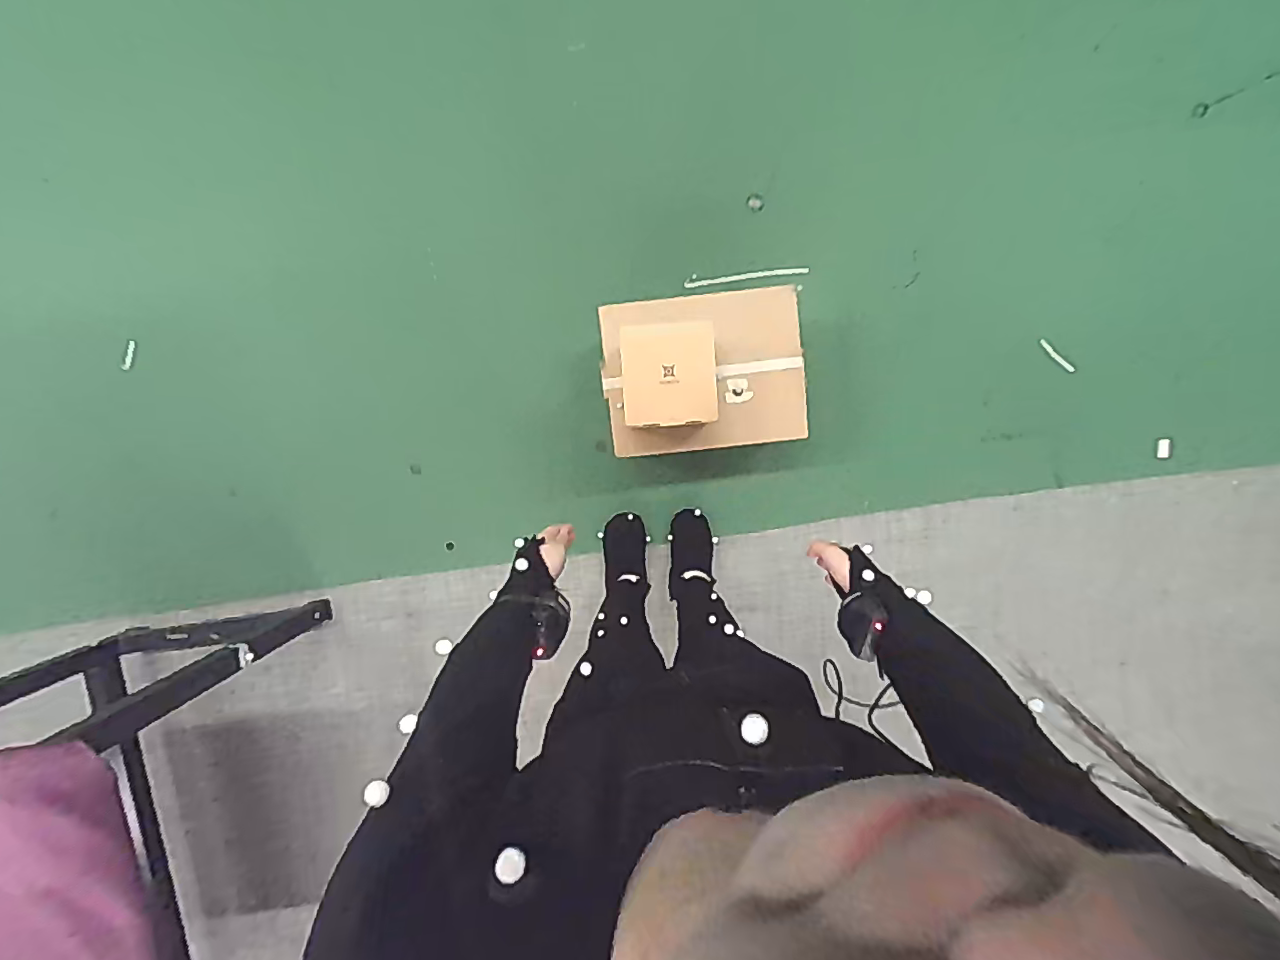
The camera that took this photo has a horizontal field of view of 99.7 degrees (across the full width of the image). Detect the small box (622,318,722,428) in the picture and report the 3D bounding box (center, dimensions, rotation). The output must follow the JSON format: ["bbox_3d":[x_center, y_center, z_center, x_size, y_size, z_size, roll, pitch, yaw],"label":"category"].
[{"bbox_3d":[0.053,-0.190,1.000,0.168,0.176,0.179,-4,96,1],"label":"small box"}]

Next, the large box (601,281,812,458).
[{"bbox_3d":[0.136,-0.233,1.240,0.408,0.320,0.320,-6,96,1],"label":"large box"}]
